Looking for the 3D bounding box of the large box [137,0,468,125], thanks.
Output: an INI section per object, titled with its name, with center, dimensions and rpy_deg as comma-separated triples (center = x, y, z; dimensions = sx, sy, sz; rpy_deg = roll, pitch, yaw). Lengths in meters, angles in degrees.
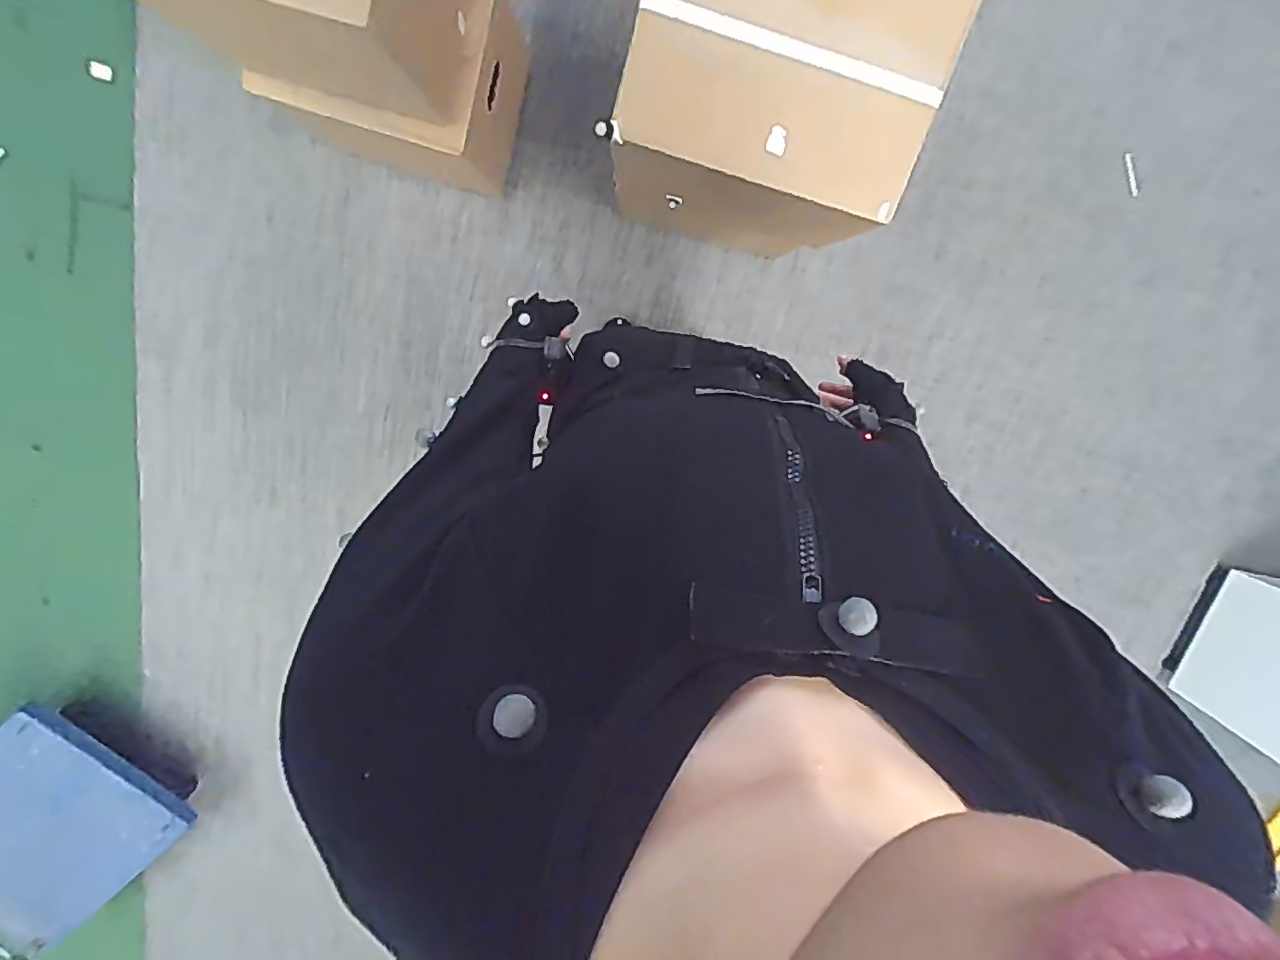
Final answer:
[large box]
center = -0.500, -0.793, 0.788
dimensions = 0.408, 0.320, 0.320
rpy_deg = 14, 102, -5
